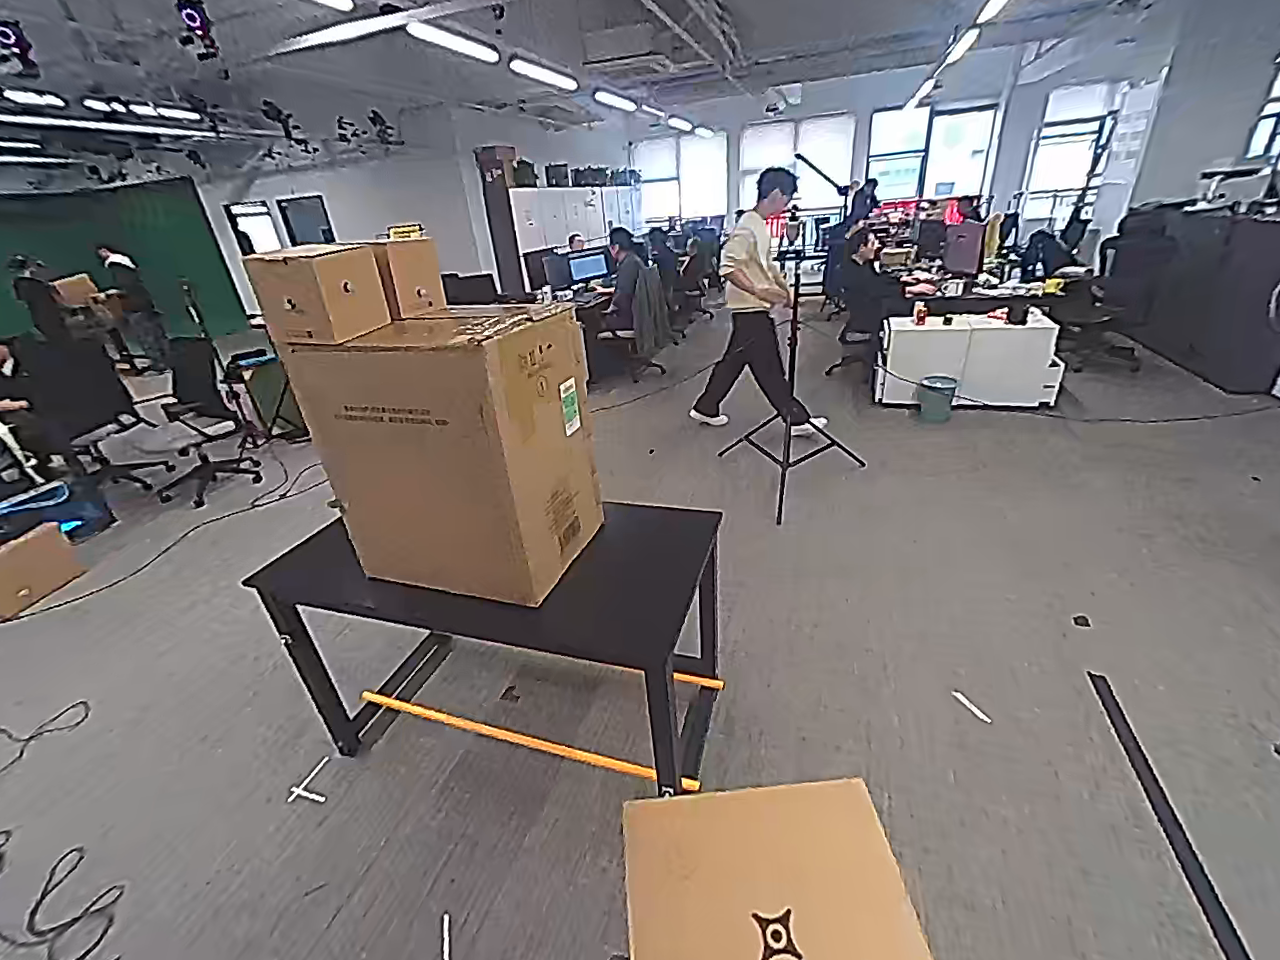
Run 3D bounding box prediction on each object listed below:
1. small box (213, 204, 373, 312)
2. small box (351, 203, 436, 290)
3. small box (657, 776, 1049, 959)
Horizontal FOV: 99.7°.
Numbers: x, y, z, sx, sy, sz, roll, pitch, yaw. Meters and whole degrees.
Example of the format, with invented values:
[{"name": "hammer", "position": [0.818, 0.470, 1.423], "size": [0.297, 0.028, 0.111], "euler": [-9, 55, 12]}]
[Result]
[{"name": "small box", "position": [-0.653, -0.429, 1.047], "size": [0.168, 0.176, 0.179], "euler": [5, 32, 13]}, {"name": "small box", "position": [-0.595, -0.525, 1.221], "size": [0.179, 0.176, 0.168], "euler": [7, 28, 19]}, {"name": "small box", "position": [0.098, 0.282, 0.269], "size": [0.168, 0.176, 0.179], "euler": [-6, 38, -2]}]
